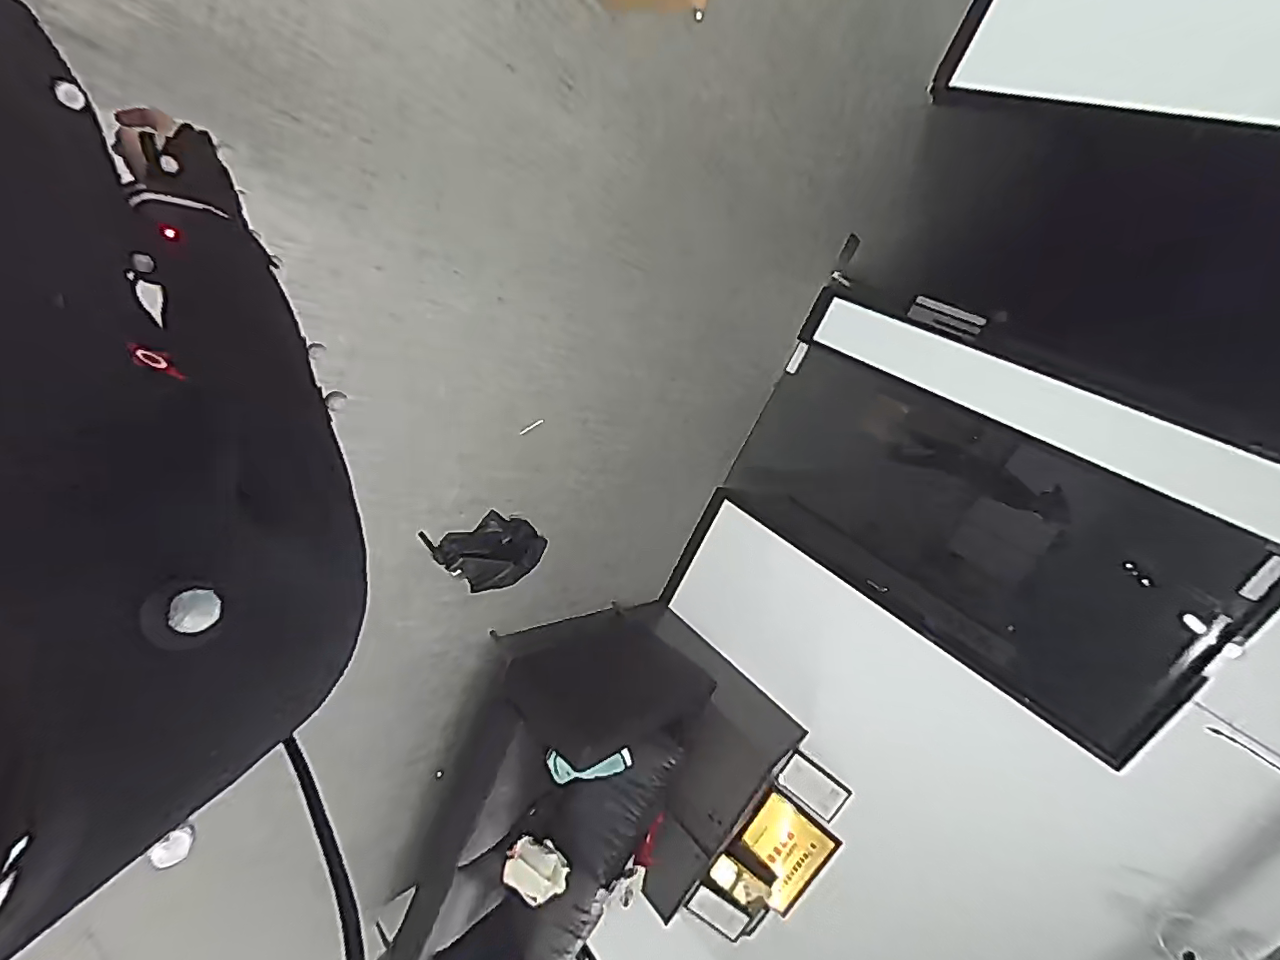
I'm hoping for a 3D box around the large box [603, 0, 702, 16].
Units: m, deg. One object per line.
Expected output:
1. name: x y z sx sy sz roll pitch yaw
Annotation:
1. large box: 0.022 -1.259 1.069 0.320 0.320 0.408 7 116 -53
